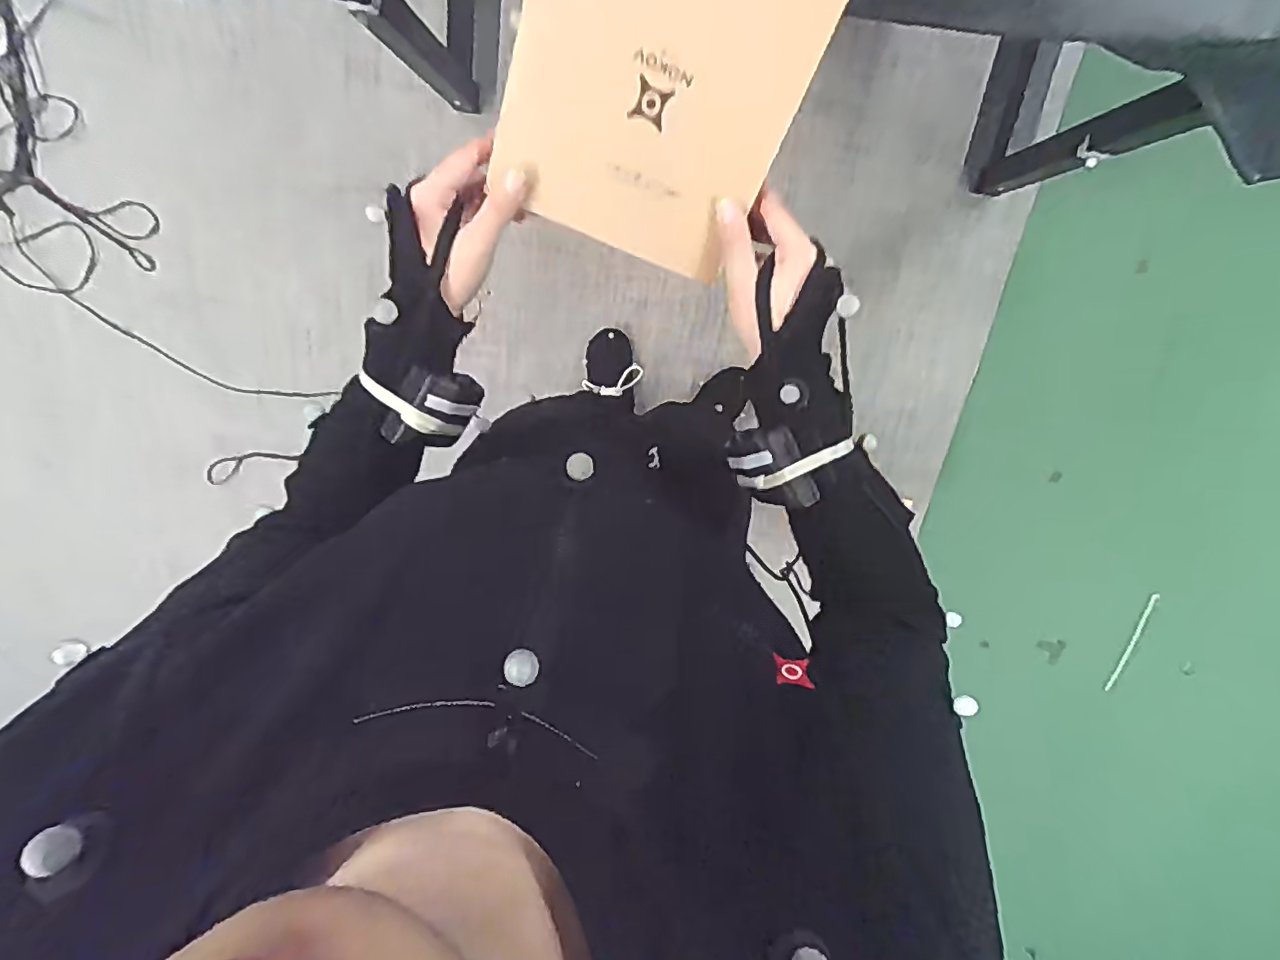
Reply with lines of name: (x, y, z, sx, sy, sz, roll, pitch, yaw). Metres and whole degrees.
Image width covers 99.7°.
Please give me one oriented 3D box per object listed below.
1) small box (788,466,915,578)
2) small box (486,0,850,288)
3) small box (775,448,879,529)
small box: (0.430, 0.081, 1.133, 0.179, 0.176, 0.168, 11, 108, -1)
small box: (0.009, -0.267, 0.377, 0.168, 0.176, 0.179, 18, 123, -11)
small box: (0.434, 0.029, 1.288, 0.179, 0.176, 0.168, 10, 108, 0)
